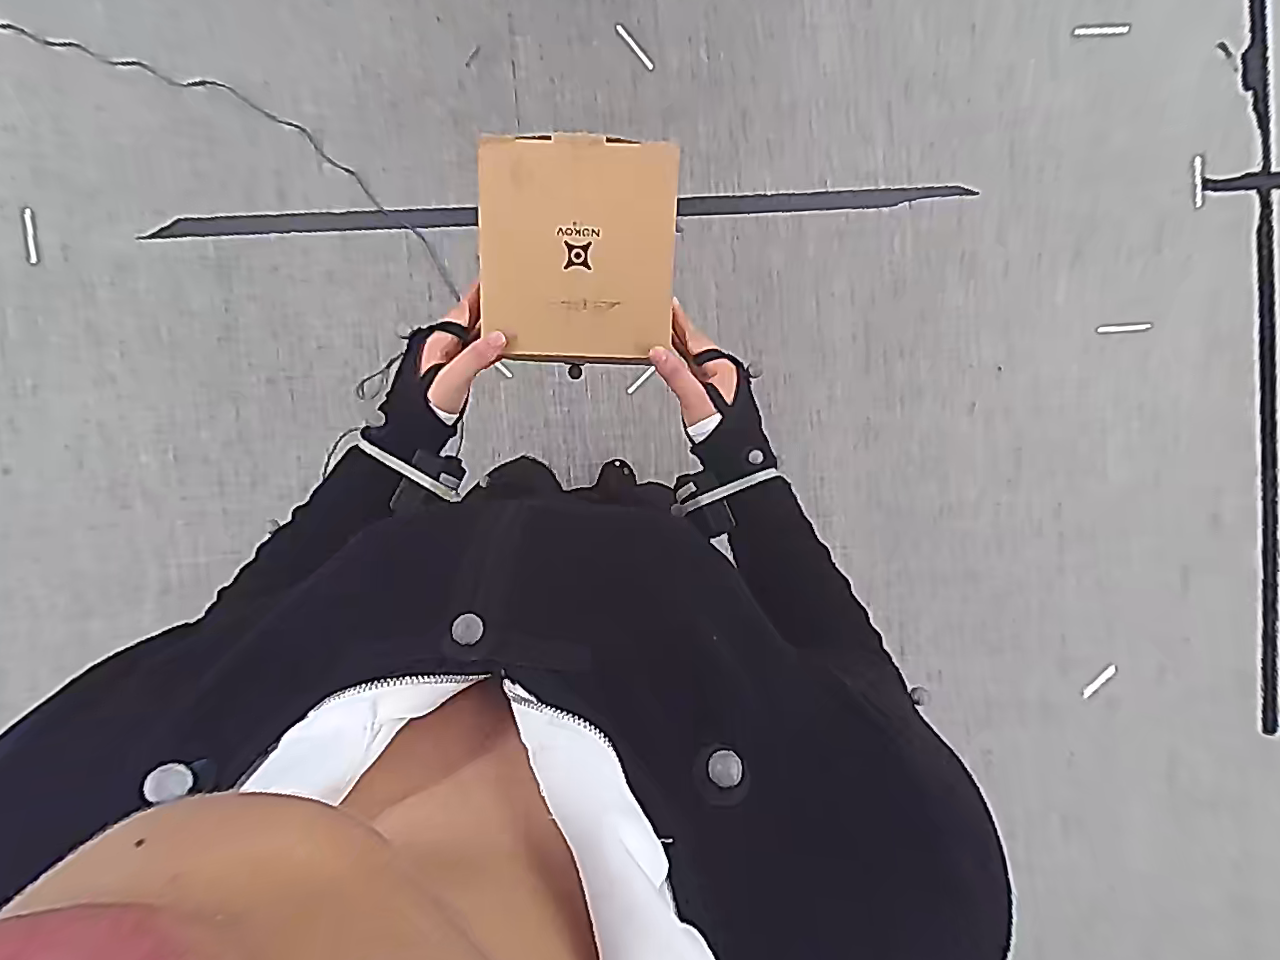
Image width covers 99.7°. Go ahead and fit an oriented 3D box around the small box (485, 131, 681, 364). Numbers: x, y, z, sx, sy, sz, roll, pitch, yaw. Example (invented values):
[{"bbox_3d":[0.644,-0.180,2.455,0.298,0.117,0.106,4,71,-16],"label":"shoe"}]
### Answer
[{"bbox_3d":[-0.053,-0.212,0.539,0.168,0.176,0.179,2,100,-2],"label":"small box"}]
